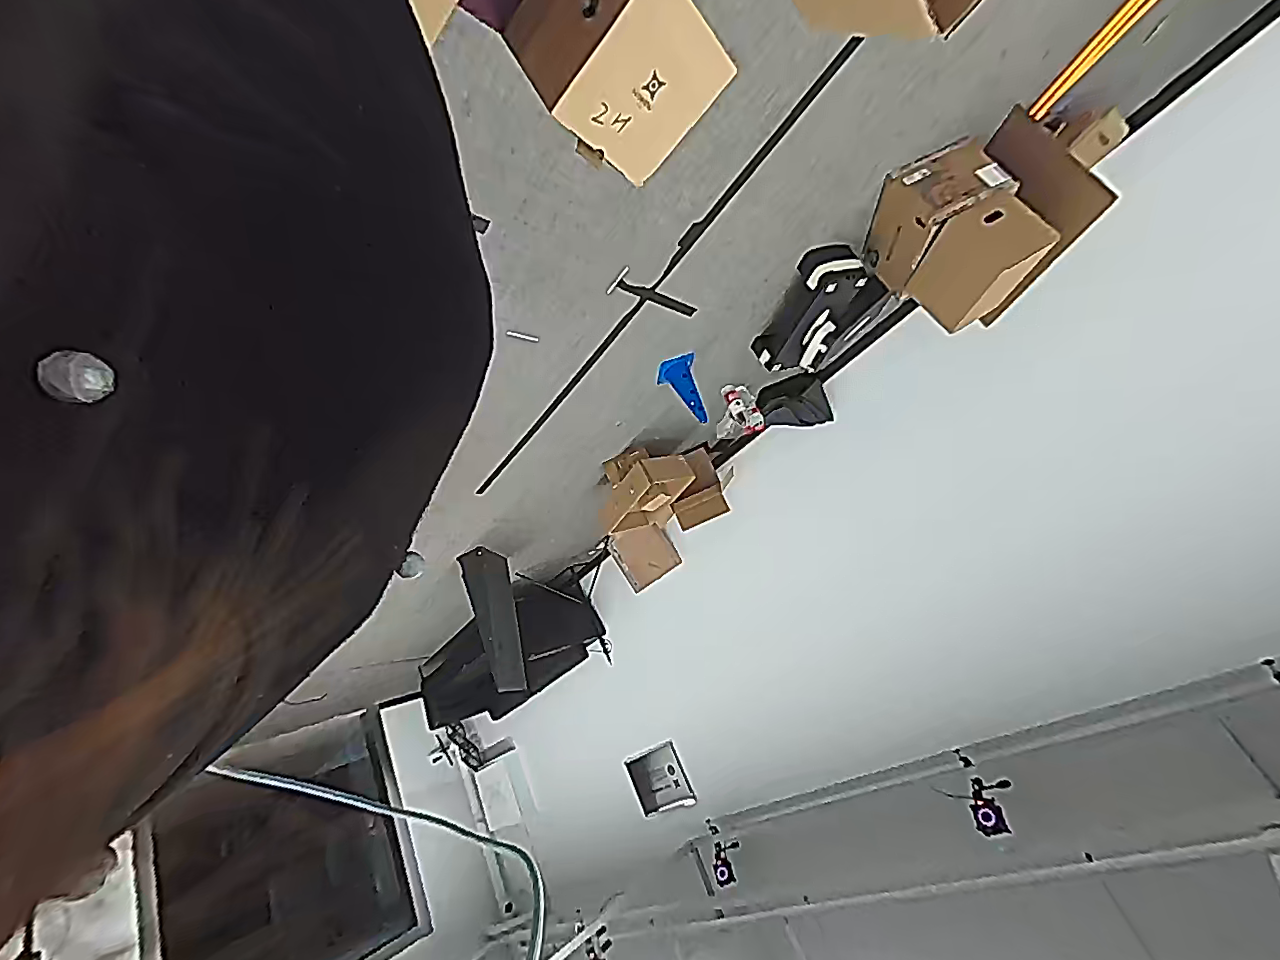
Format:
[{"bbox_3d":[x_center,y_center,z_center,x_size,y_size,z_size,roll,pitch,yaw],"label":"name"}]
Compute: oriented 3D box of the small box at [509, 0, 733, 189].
[{"bbox_3d":[-0.028,-0.503,0.641,0.179,0.176,0.168,-40,154,27],"label":"small box"}]
